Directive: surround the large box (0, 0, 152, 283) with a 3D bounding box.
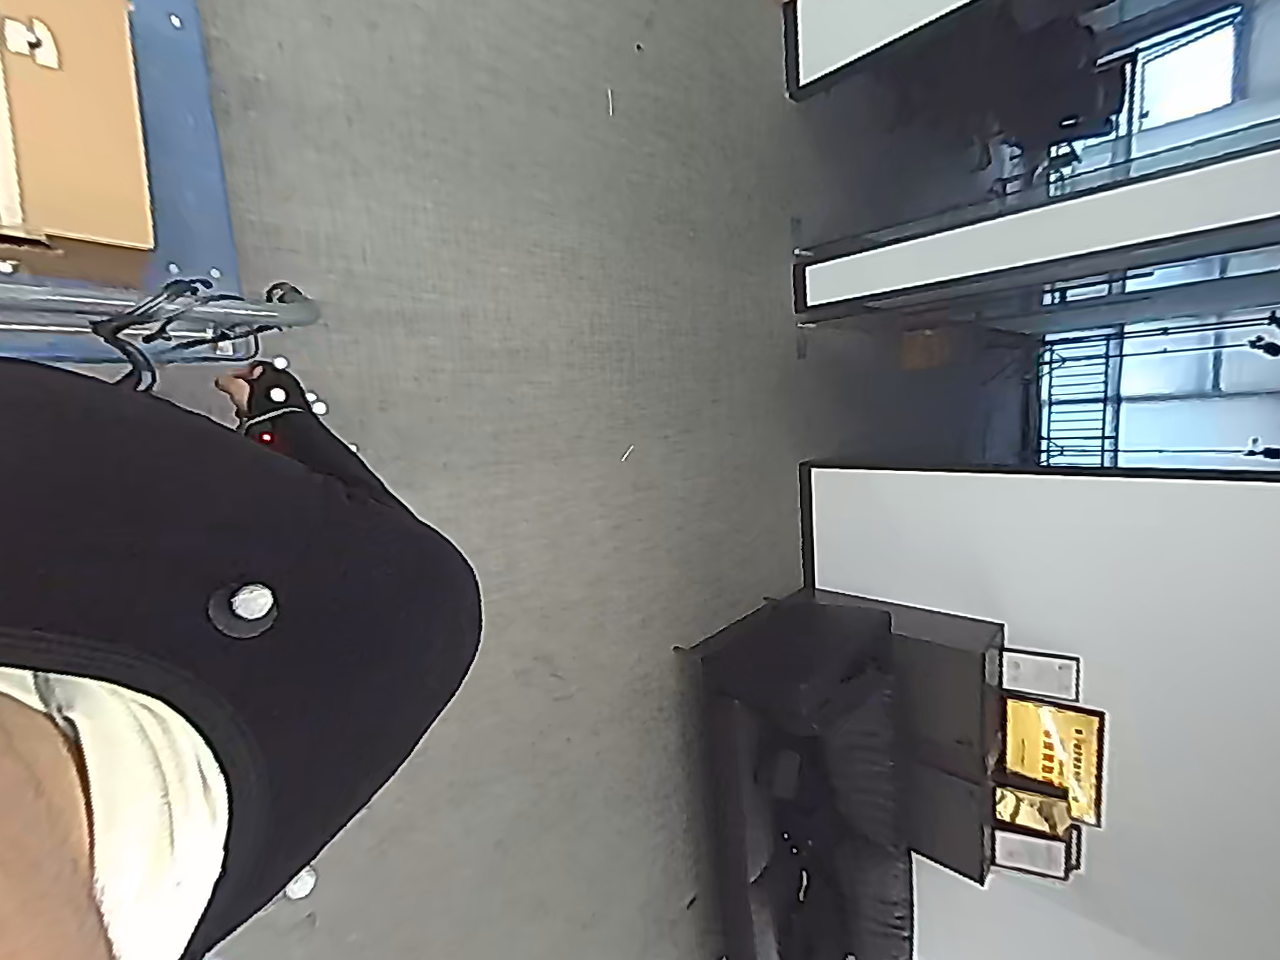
[{"bbox_3d":[-1.022,-0.567,0.864,0.320,0.320,0.408,-8,98,-46],"label":"large box"}]
